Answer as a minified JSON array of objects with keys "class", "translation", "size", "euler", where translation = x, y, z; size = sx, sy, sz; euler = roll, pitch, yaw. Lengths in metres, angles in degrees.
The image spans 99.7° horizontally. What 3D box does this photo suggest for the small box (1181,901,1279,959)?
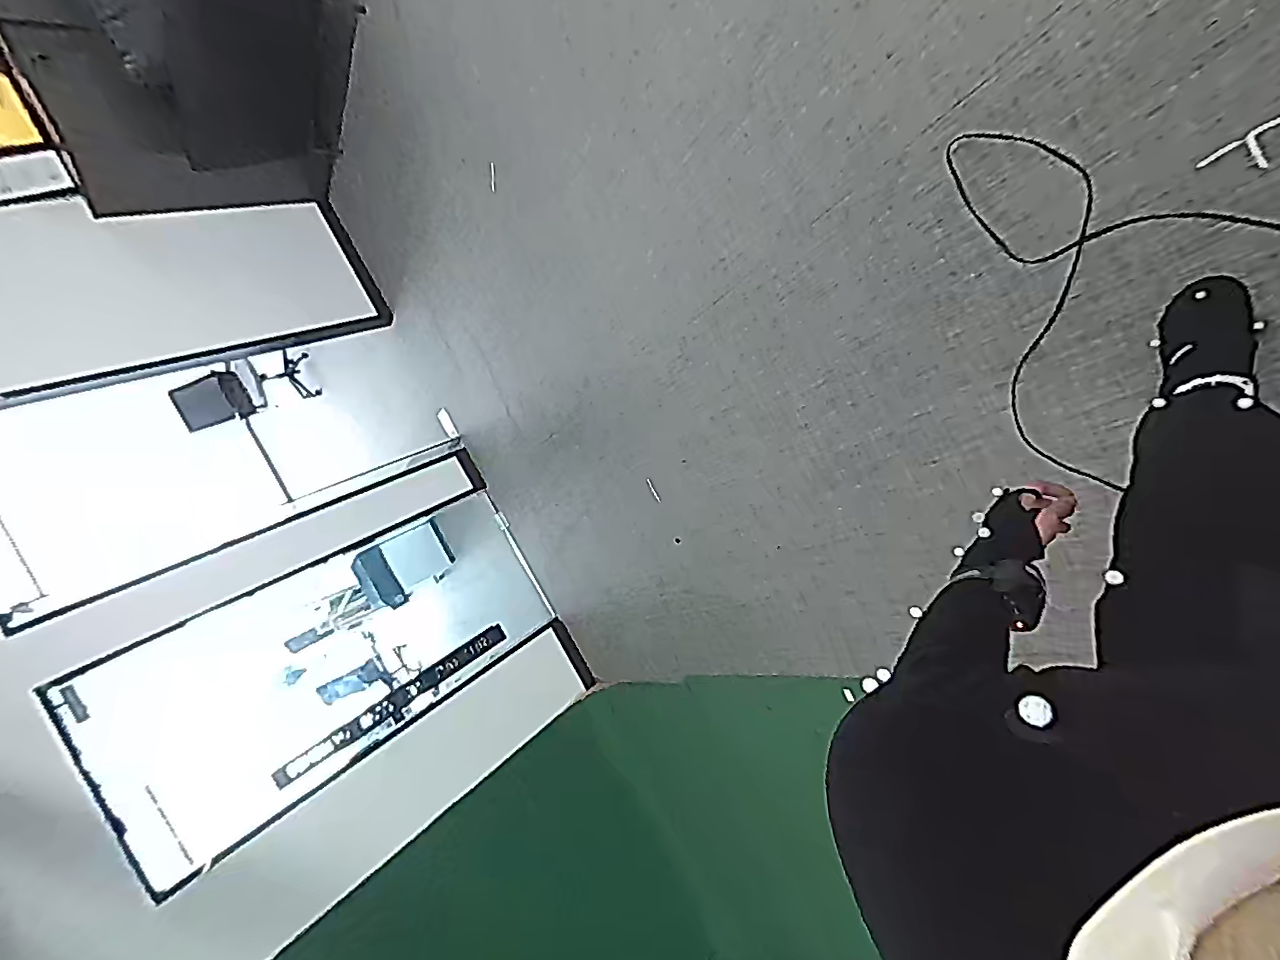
[{"class":"small box","translation":[1.245,1.015,1.097],"size":[0.168,0.176,0.179],"euler":[-29,90,53]}]
